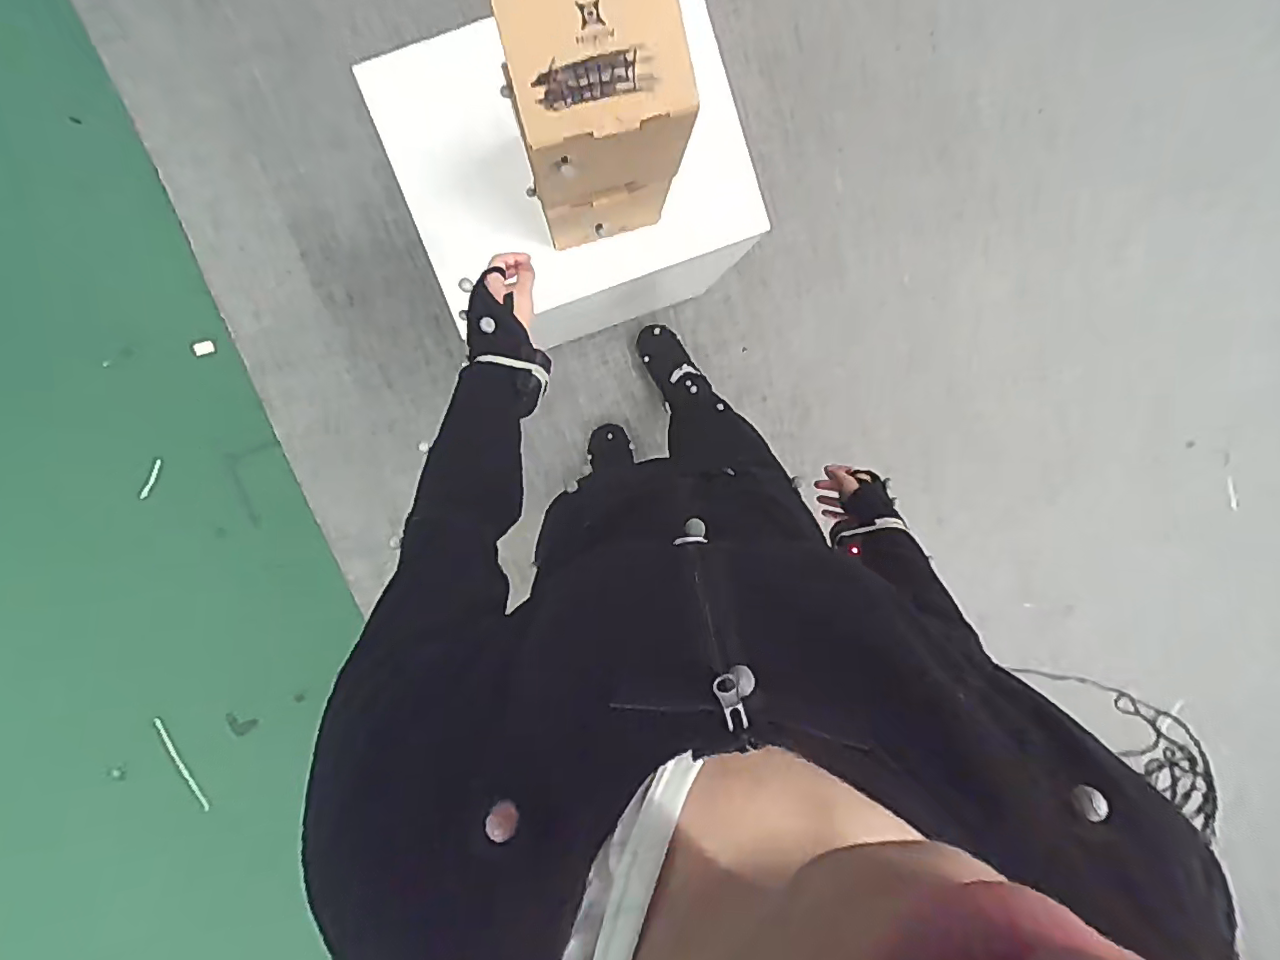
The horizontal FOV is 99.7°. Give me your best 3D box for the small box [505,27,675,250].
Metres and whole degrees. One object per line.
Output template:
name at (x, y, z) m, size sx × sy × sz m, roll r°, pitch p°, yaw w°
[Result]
small box at (-0.064, -0.432, 0.714) m, size 0.168 × 0.176 × 0.179 m, roll -16°, pitch 98°, yaw -1°
